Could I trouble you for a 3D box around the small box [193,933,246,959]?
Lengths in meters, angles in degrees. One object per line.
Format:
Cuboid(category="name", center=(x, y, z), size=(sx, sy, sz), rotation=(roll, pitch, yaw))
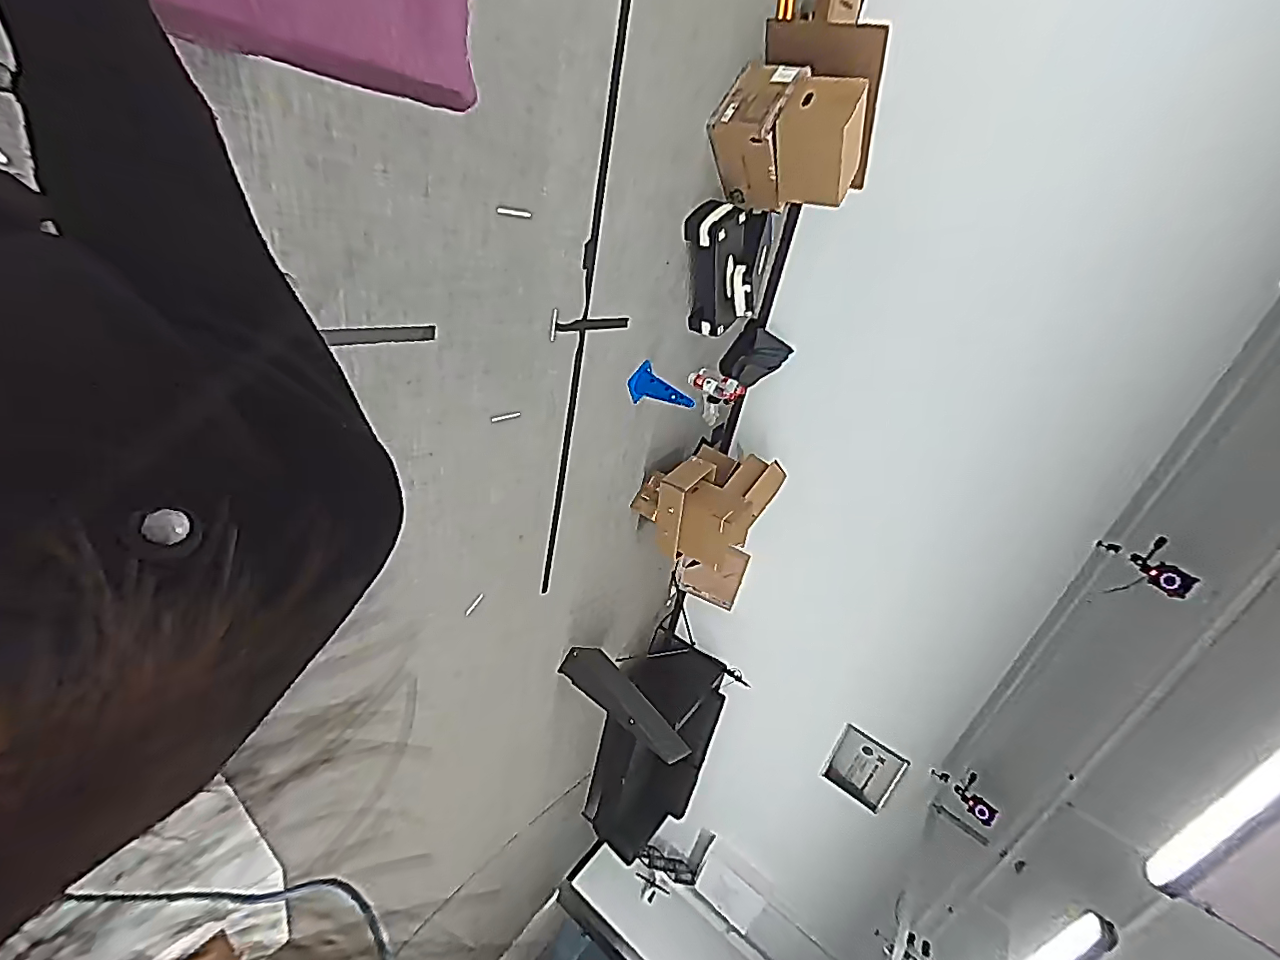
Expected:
Cuboid(category="small box", center=(-1.106, 1.333, 1.391), size=(0.179, 0.176, 0.168), rotation=(-29, 138, -46))
